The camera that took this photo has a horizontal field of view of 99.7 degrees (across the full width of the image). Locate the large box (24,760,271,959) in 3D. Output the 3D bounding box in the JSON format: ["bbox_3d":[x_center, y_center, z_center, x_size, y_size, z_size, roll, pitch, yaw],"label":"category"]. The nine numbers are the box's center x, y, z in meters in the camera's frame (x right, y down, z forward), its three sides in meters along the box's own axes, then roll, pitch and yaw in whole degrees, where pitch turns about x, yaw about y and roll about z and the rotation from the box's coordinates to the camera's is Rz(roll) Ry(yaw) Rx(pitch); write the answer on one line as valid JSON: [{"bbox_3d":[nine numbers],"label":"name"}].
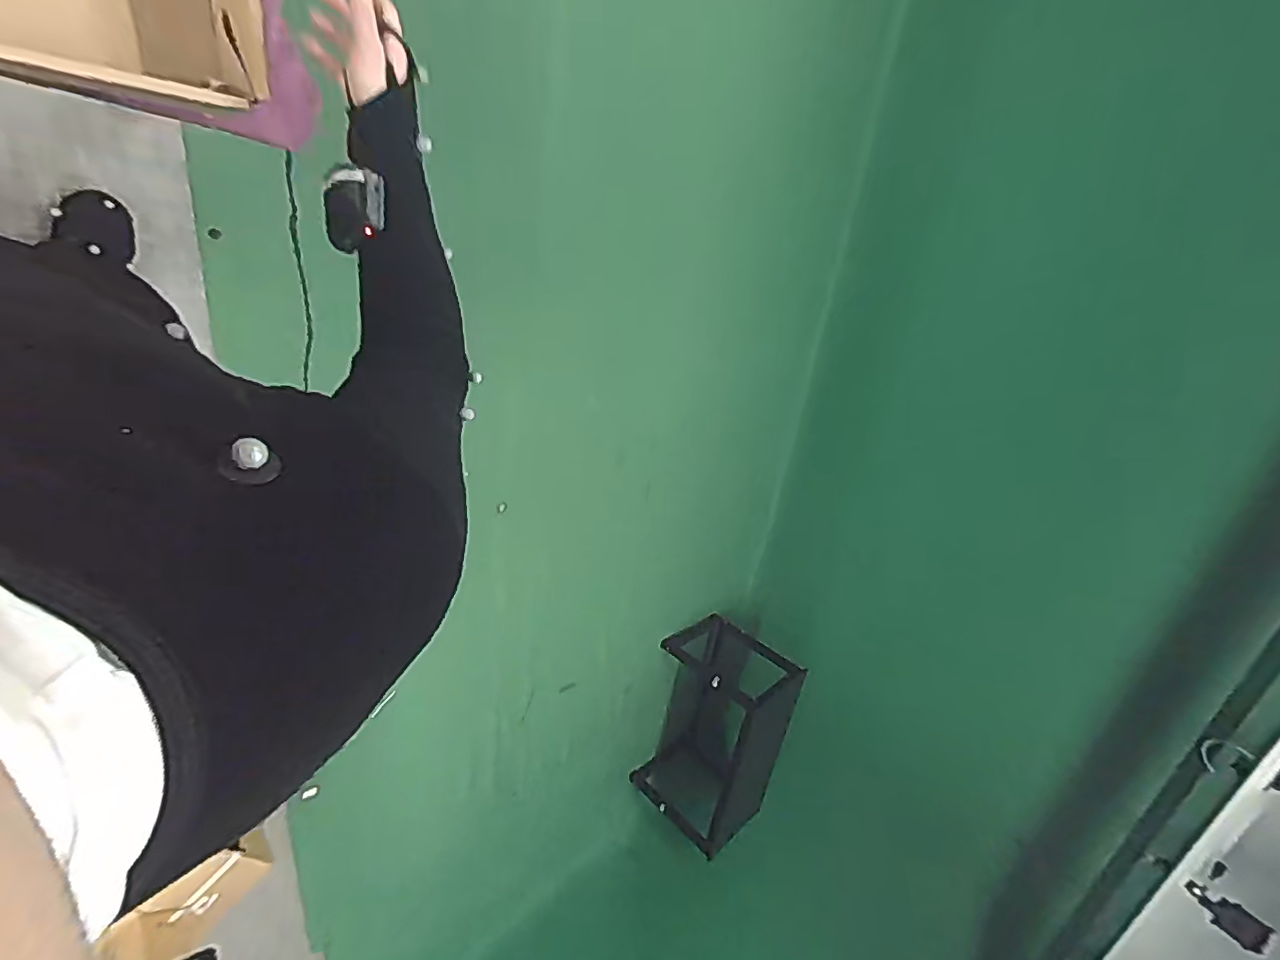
[{"bbox_3d":[-1.376,1.101,1.529,0.408,0.320,0.320,-46,141,-22],"label":"large box"}]
